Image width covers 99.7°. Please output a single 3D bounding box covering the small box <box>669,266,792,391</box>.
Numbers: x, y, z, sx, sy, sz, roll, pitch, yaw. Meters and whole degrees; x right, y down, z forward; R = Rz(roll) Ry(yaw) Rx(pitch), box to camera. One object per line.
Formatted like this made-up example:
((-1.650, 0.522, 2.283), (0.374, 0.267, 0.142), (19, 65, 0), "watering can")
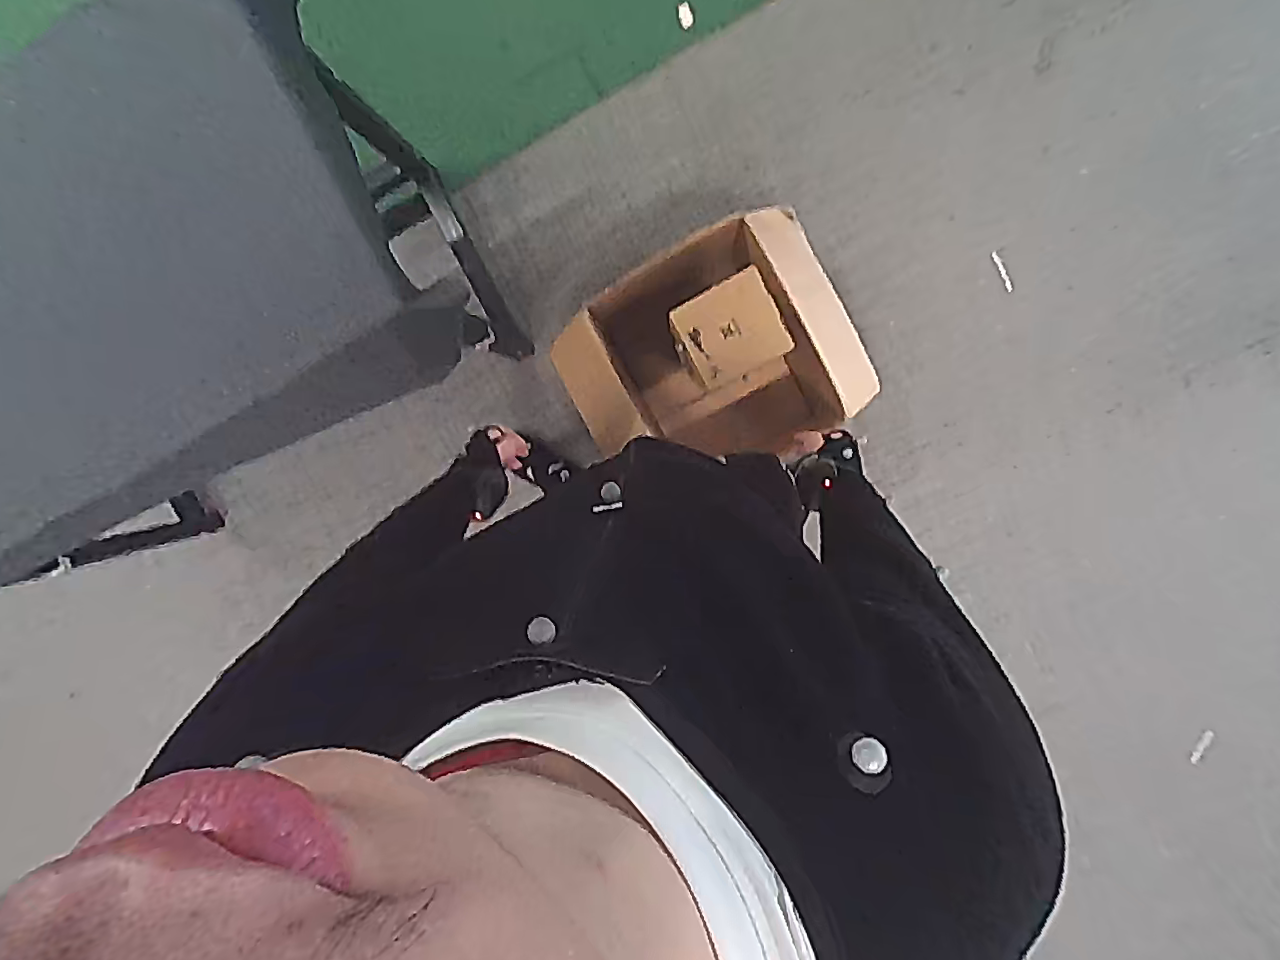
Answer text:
((0.167, -0.285, 1.057), (0.179, 0.176, 0.168), (-27, 95, 6), "small box")
